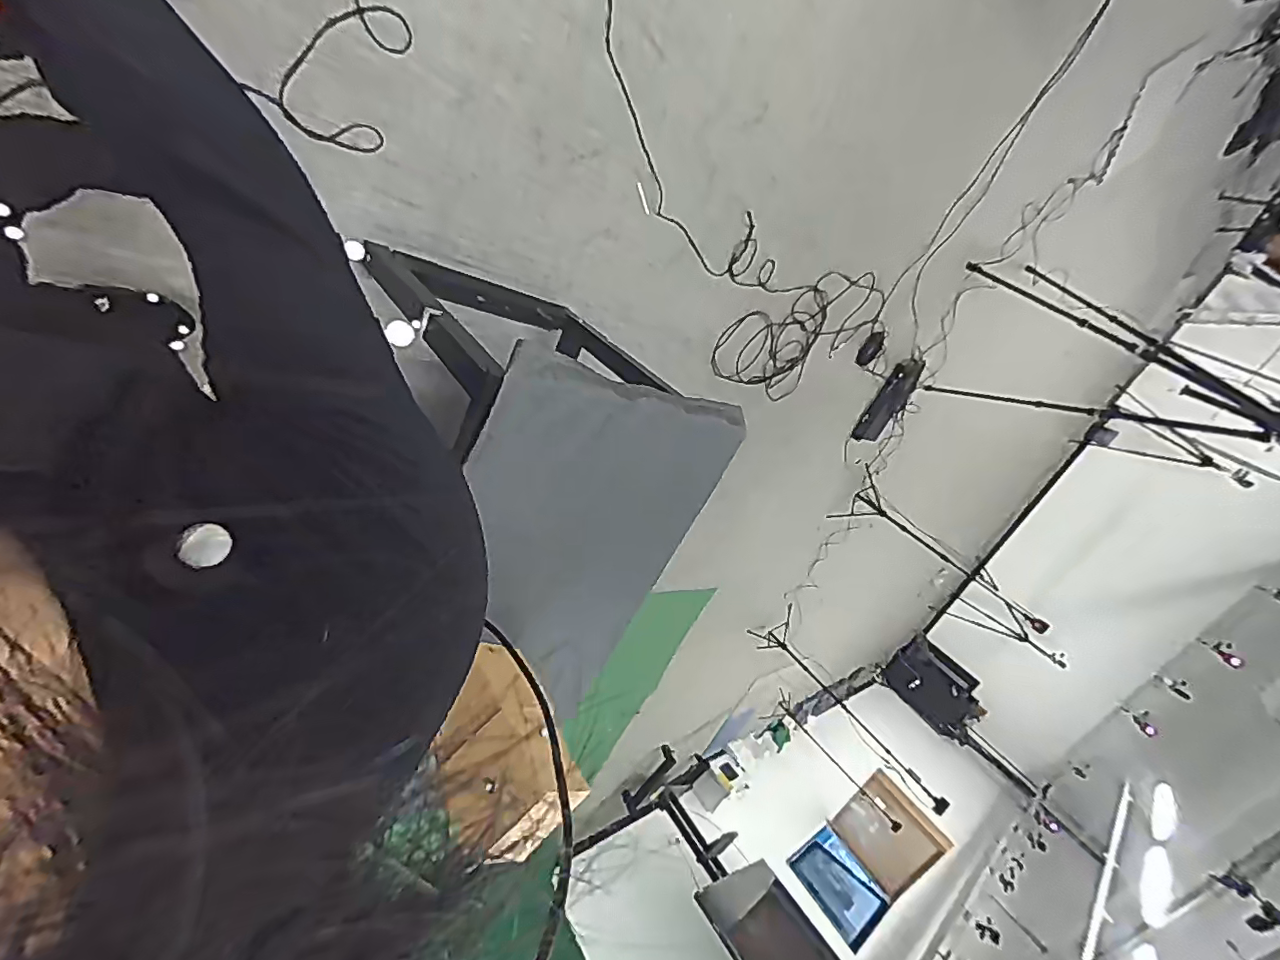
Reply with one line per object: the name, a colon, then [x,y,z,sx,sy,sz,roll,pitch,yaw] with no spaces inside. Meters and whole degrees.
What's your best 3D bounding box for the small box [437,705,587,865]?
small box: [-0.233,0.533,0.957,0.179,0.176,0.168,-43,144,-4]
